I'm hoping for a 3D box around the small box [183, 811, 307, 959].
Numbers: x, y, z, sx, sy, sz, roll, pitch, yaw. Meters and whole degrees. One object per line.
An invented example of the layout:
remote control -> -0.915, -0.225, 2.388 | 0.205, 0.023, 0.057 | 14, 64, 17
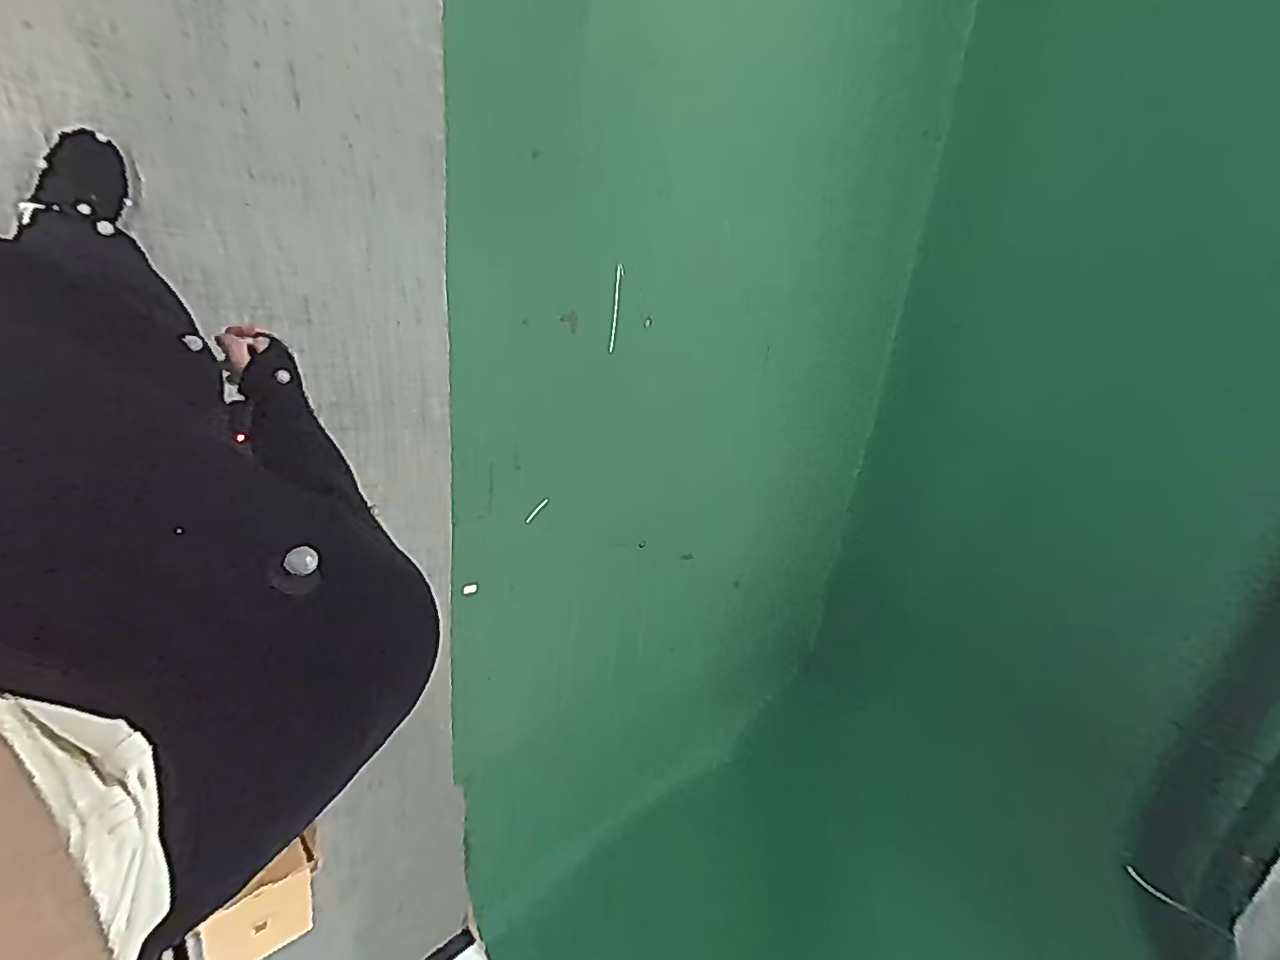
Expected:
small box -> -0.756, 0.791, 1.037 | 0.168, 0.176, 0.179 | -9, 115, -44
